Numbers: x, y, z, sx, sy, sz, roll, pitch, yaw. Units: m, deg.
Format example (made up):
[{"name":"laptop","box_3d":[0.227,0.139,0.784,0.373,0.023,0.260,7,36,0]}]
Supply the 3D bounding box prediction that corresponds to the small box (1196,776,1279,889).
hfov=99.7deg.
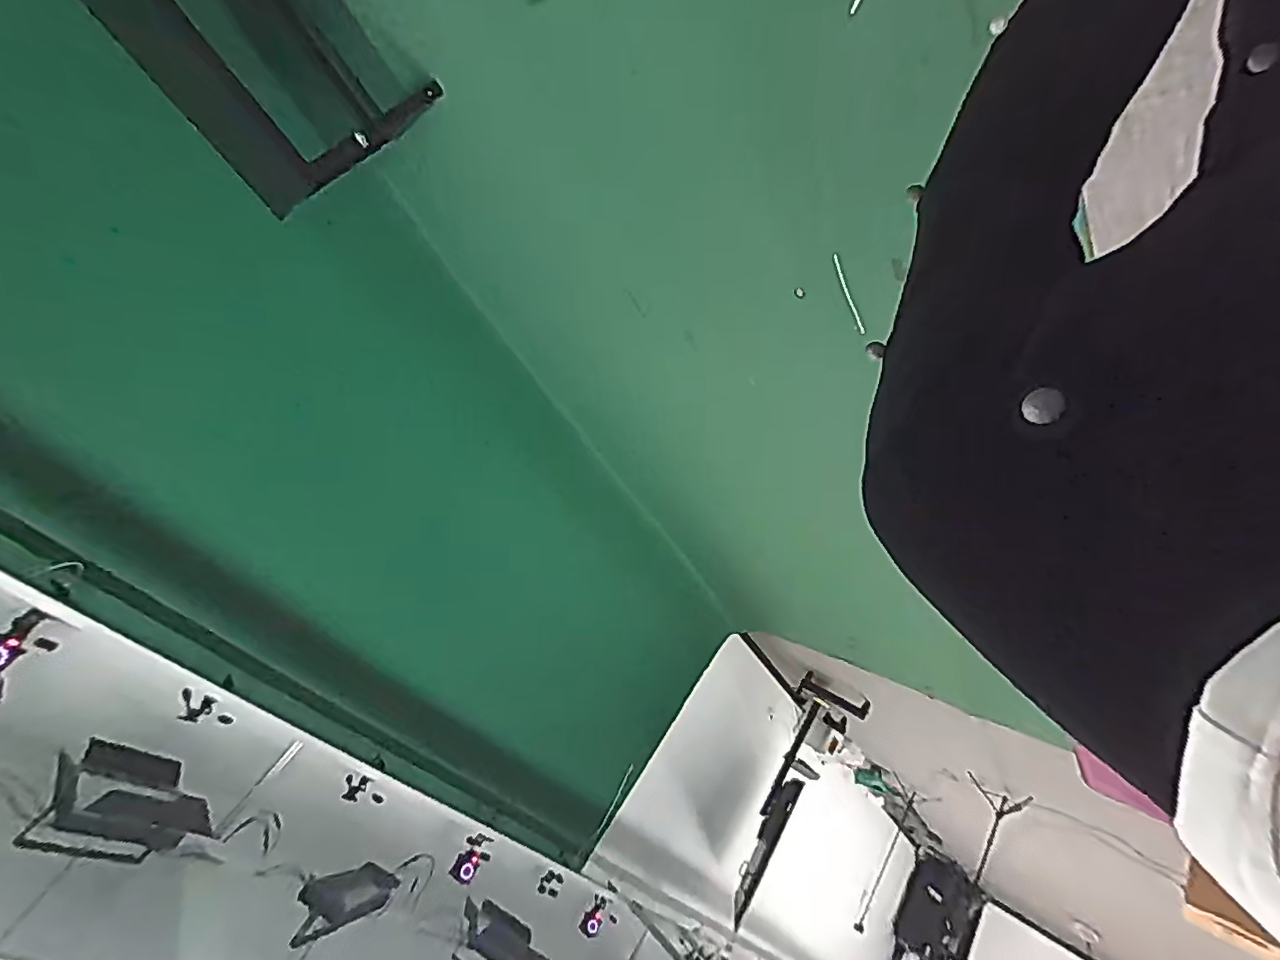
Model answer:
[{"name":"small box","box_3d":[1.569,0.904,1.389,0.179,0.176,0.168,10,145,50]}]
